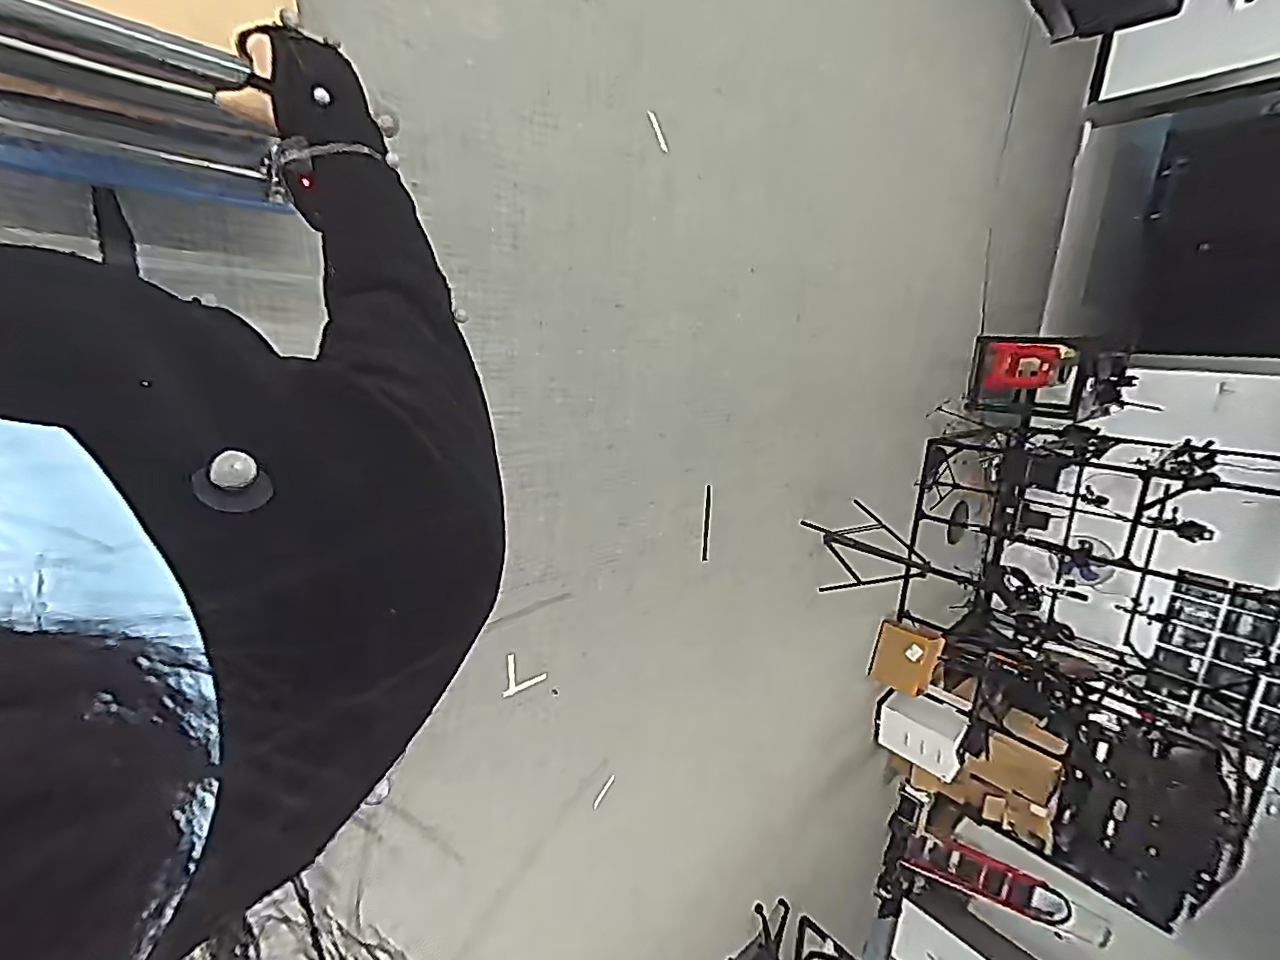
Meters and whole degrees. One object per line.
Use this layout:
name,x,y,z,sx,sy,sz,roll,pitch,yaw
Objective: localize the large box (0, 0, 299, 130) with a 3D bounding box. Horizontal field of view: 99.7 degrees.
large box,-0.760,-0.735,0.746,0.408,0.320,0.320,-14,112,-42
